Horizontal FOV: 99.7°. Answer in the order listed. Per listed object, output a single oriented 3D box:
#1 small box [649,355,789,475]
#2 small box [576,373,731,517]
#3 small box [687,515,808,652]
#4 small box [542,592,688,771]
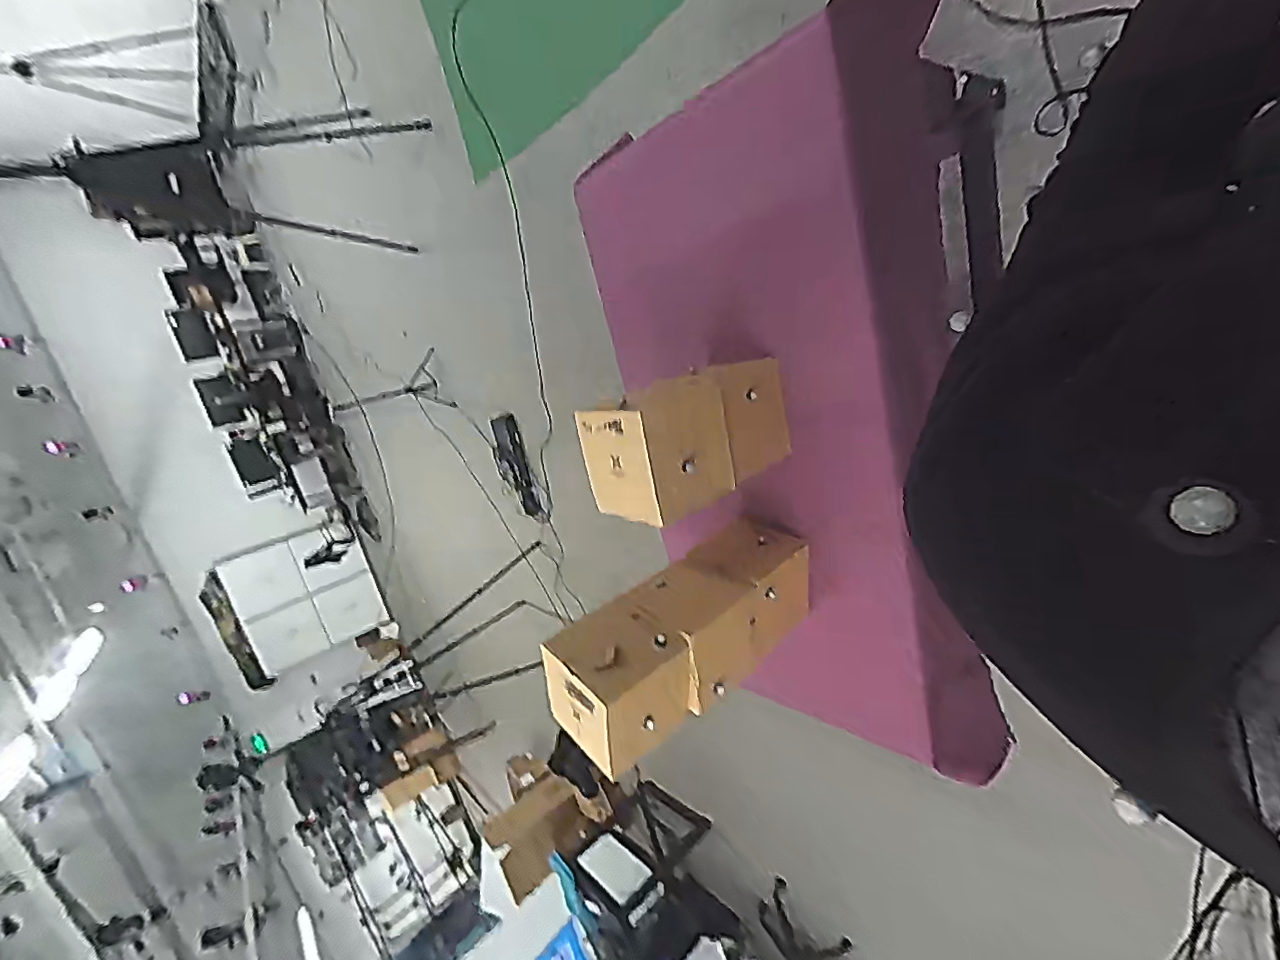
[{"bbox_3d":[0.142,-0.121,0.964,0.168,0.176,0.179,6,115,50],"label":"small box"},{"bbox_3d":[0.027,-0.063,0.863,0.168,0.176,0.179,9,117,49],"label":"small box"},{"bbox_3d":[0.212,0.192,1.056,0.168,0.176,0.179,18,122,45],"label":"small box"},{"bbox_3d":[-0.036,0.312,0.876,0.168,0.176,0.179,27,129,42],"label":"small box"}]
